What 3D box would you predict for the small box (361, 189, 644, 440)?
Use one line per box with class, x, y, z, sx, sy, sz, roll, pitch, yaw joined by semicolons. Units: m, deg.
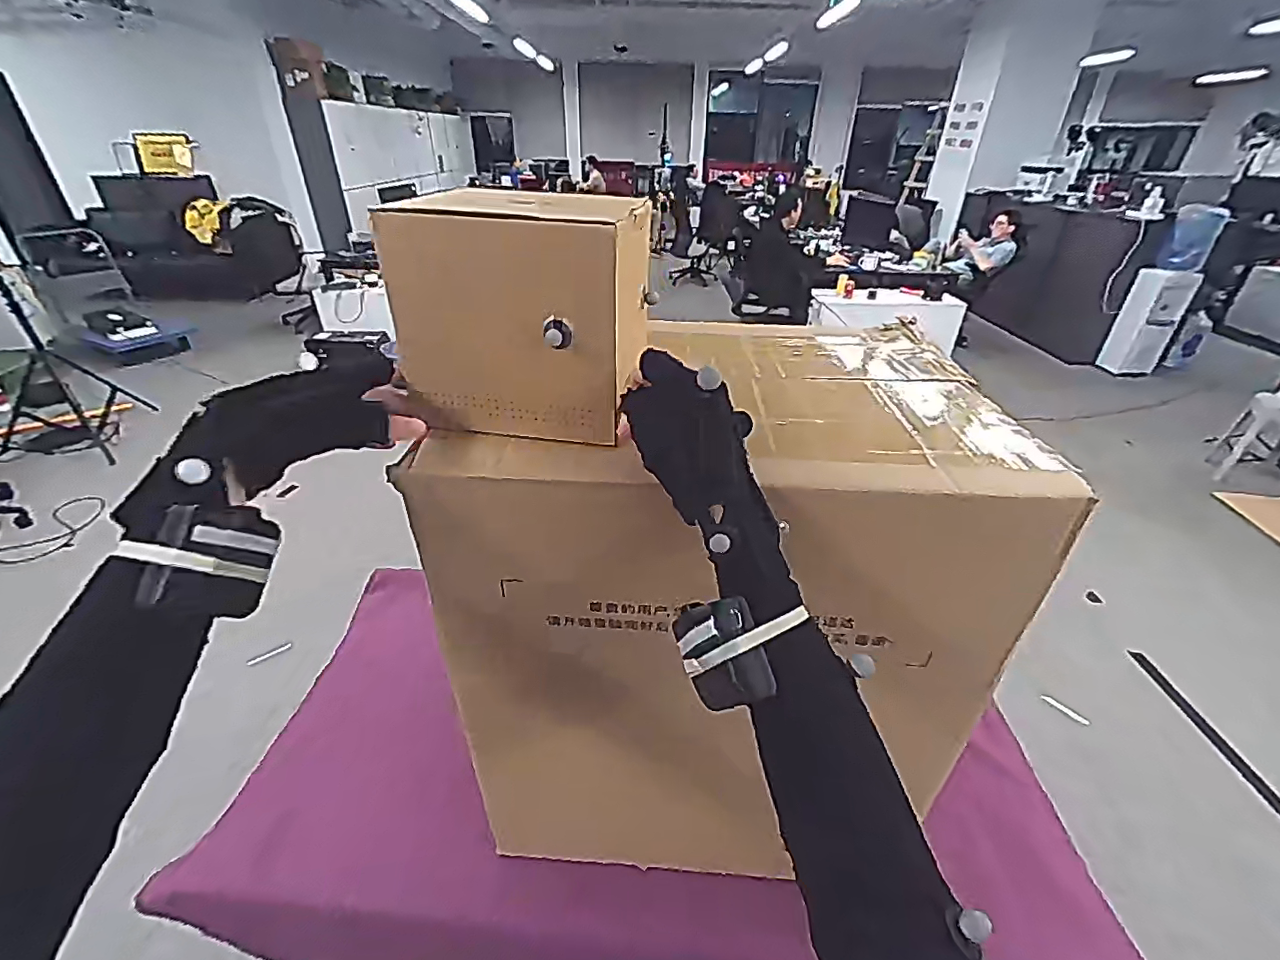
small box;-0.094;-0.145;0.464;0.179;0.176;0.168;4;32;6
